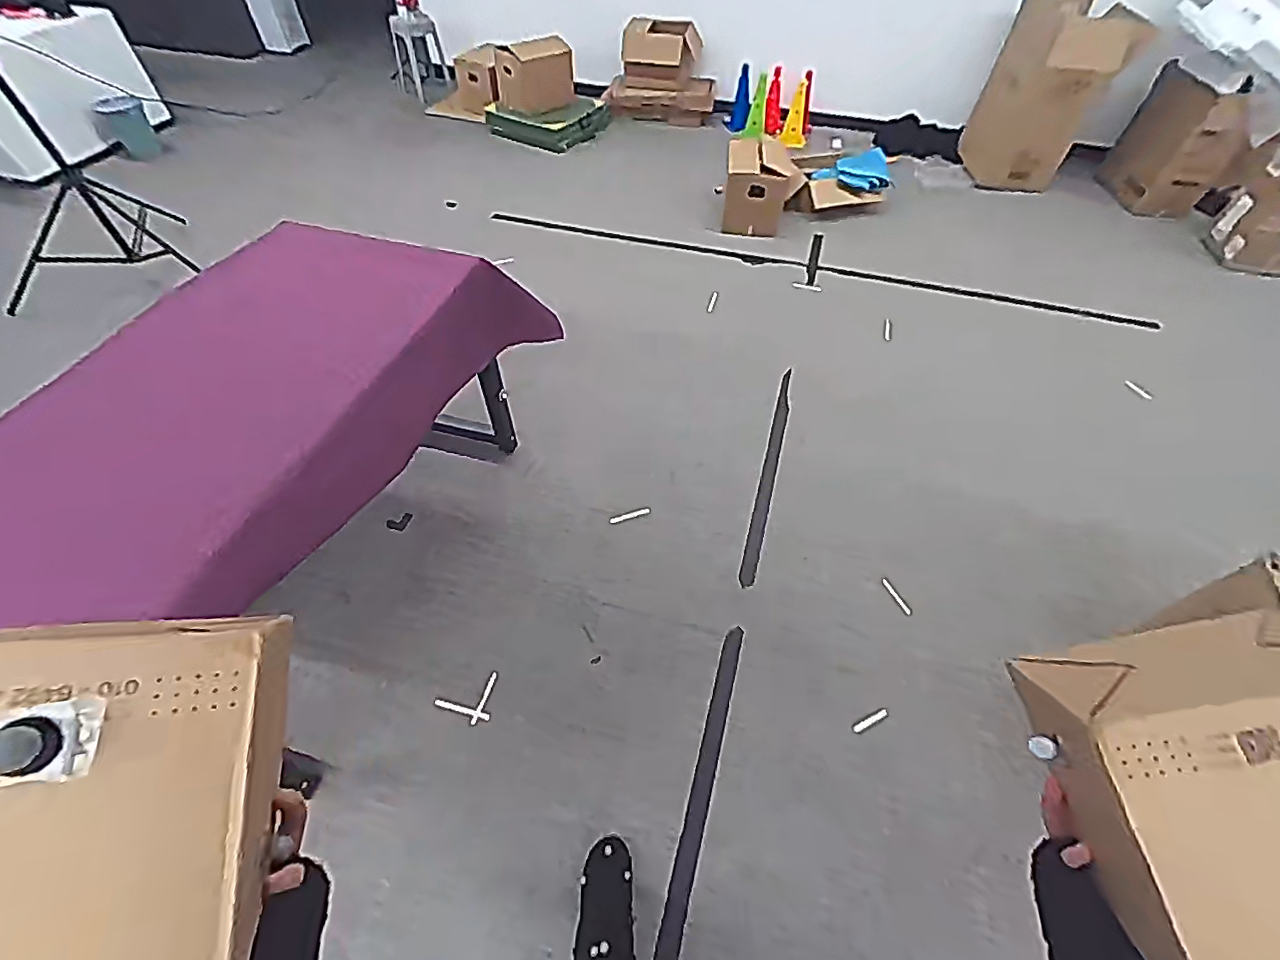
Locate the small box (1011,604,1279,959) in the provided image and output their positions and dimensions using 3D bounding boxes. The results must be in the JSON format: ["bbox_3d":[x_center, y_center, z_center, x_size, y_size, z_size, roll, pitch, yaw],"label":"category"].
[{"bbox_3d":[0.339,0.172,0.298,0.168,0.179,0.176,-21,76,20],"label":"small box"}]

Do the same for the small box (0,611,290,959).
[{"bbox_3d":[-0.279,0.154,0.264,0.168,0.179,0.176,2,77,-28],"label":"small box"}]
